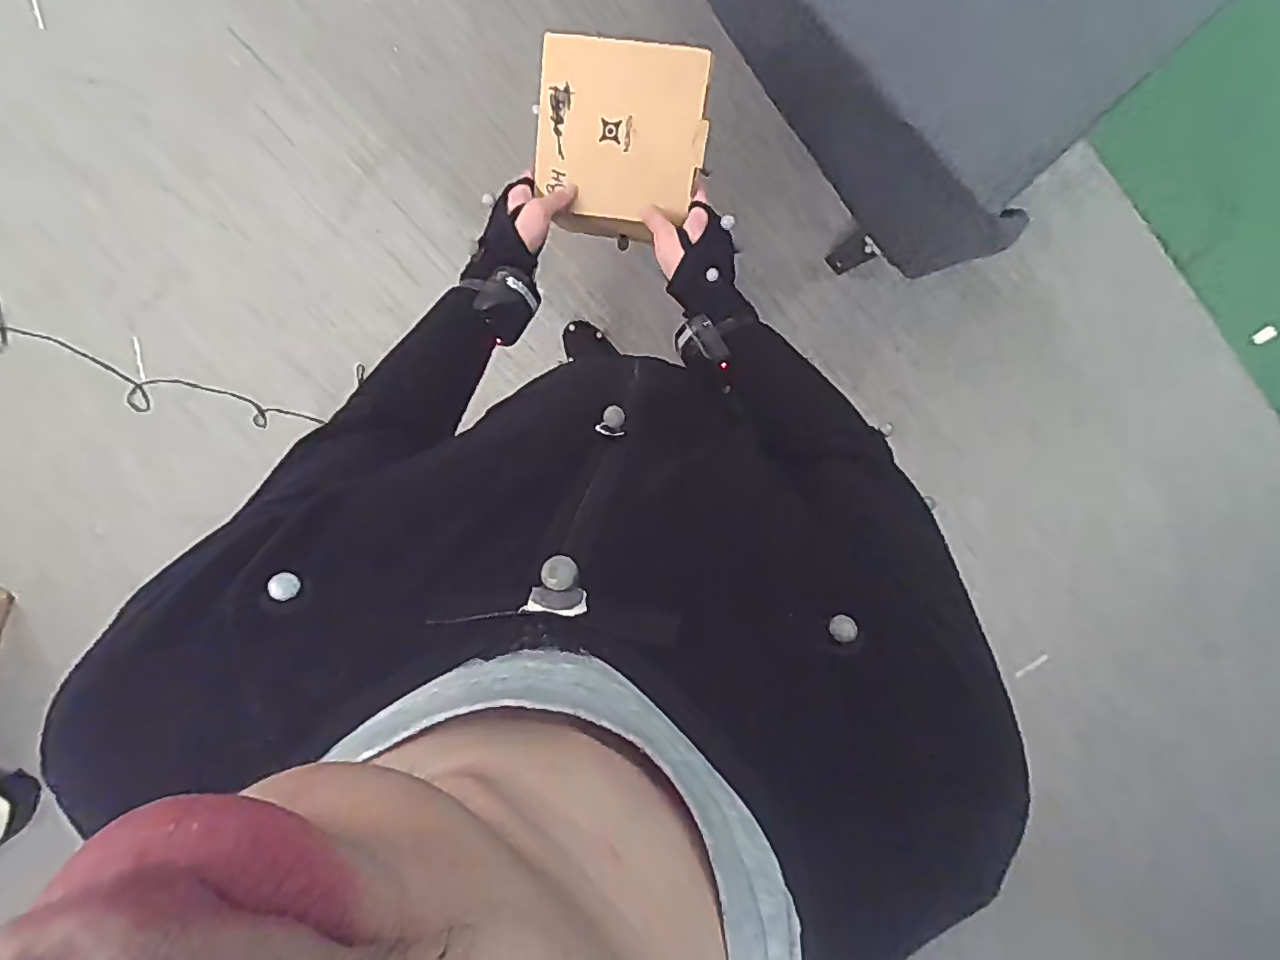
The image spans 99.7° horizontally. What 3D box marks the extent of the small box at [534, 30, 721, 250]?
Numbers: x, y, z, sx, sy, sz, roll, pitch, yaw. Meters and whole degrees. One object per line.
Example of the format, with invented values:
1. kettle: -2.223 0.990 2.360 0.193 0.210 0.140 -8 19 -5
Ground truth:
1. small box: -0.014 -0.372 0.627 0.179 0.176 0.168 8 105 0

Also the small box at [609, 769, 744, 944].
1. small box: 0.063 0.683 1.001 0.179 0.176 0.168 -42 98 10
